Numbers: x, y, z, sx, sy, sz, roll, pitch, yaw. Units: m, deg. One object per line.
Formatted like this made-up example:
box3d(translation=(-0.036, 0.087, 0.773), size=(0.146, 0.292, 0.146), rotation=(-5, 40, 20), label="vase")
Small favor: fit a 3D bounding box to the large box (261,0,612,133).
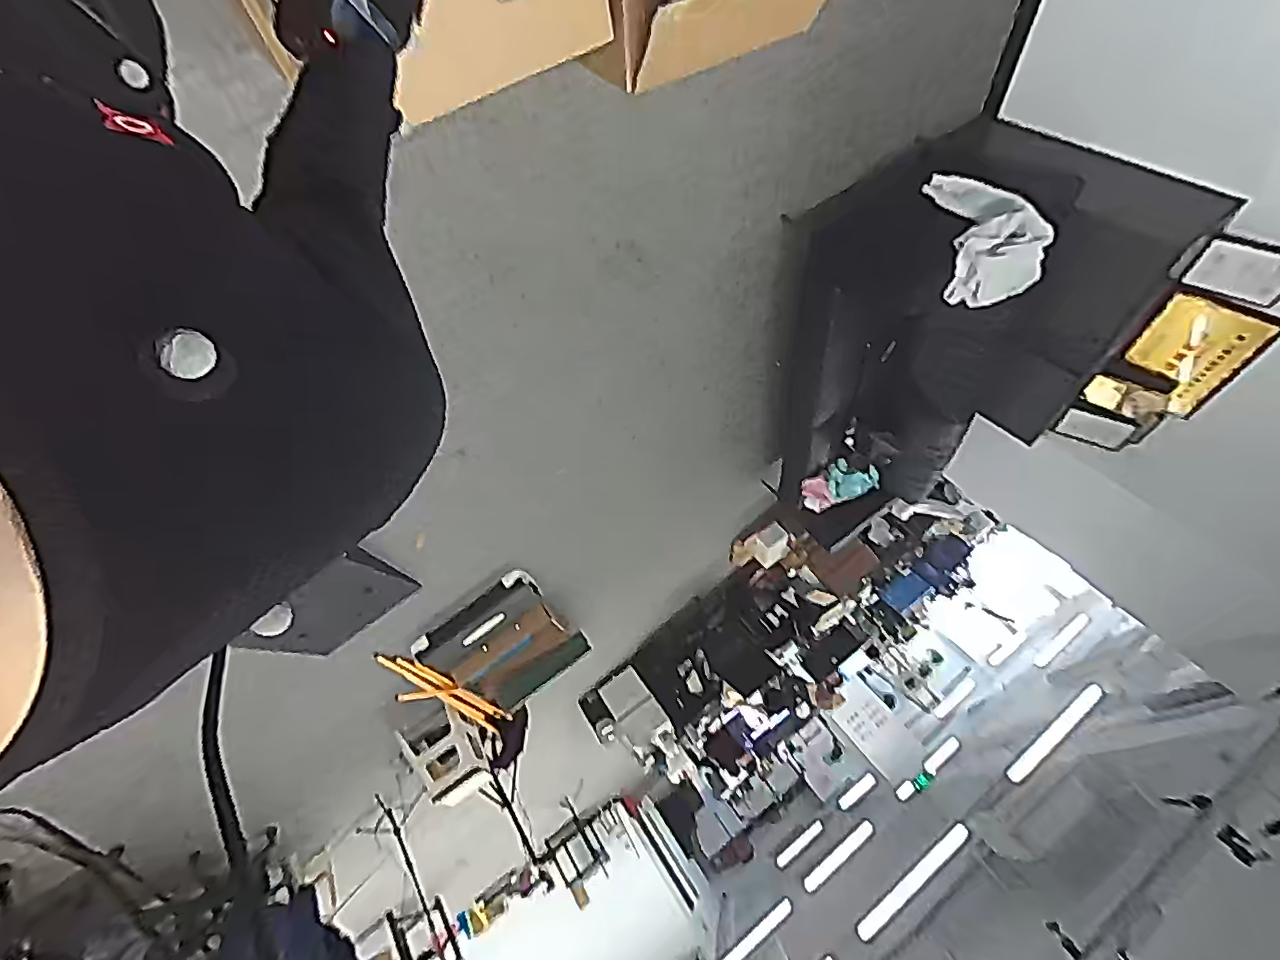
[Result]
box3d(translation=(-0.310, -0.729, 0.704), size=(0.408, 0.320, 0.320), rotation=(-34, 145, -13), label="large box")
